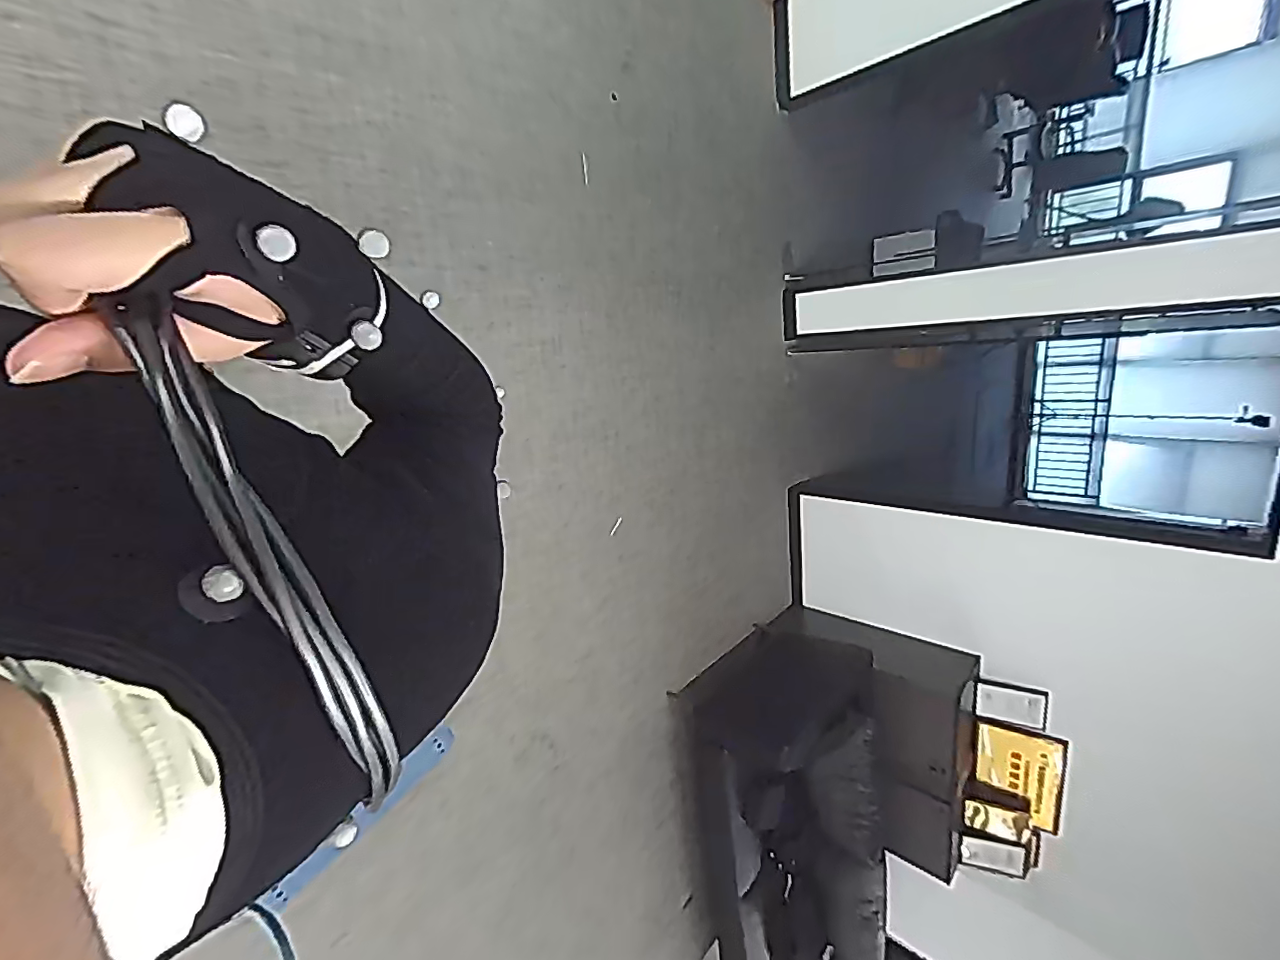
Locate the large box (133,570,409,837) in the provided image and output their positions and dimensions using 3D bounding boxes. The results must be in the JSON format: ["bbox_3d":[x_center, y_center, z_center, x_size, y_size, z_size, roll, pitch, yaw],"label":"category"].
[{"bbox_3d":[-0.806,0.473,1.206,0.320,0.320,0.408,-38,124,-37],"label":"large box"}]
